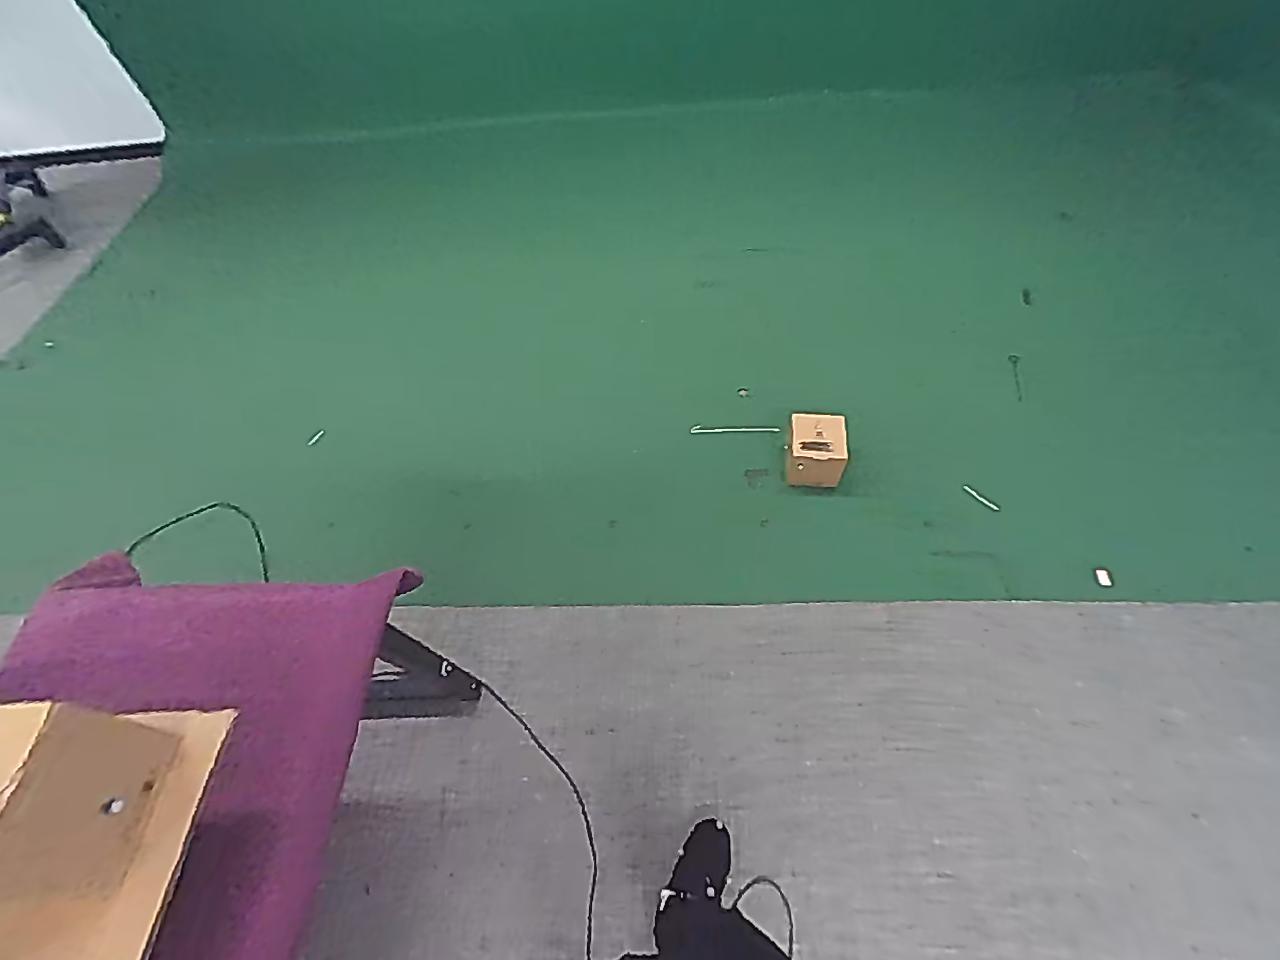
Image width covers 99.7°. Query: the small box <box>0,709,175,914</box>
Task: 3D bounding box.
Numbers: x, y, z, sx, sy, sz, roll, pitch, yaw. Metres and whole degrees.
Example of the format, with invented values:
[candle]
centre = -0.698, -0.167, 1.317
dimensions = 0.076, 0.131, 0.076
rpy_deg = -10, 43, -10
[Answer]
[small box]
centre = -0.660, 0.347, 0.563
dimensions = 0.179, 0.176, 0.168
rpy_deg = -4, 55, 2
